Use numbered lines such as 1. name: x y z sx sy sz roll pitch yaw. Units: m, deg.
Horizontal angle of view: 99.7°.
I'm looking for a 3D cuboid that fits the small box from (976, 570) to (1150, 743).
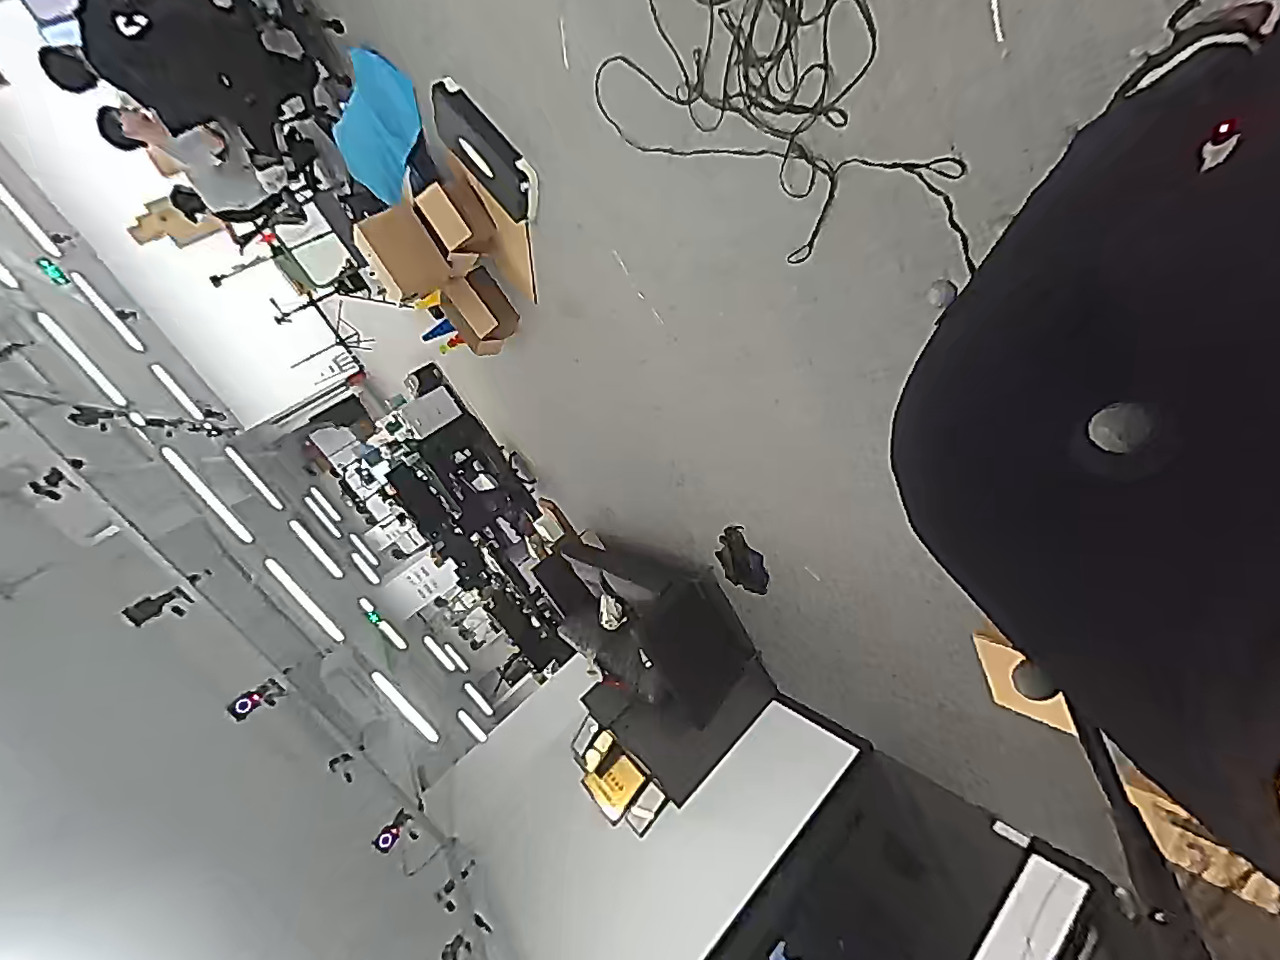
1. small box: 0.699 0.280 0.891 0.168 0.176 0.179 10 135 59
